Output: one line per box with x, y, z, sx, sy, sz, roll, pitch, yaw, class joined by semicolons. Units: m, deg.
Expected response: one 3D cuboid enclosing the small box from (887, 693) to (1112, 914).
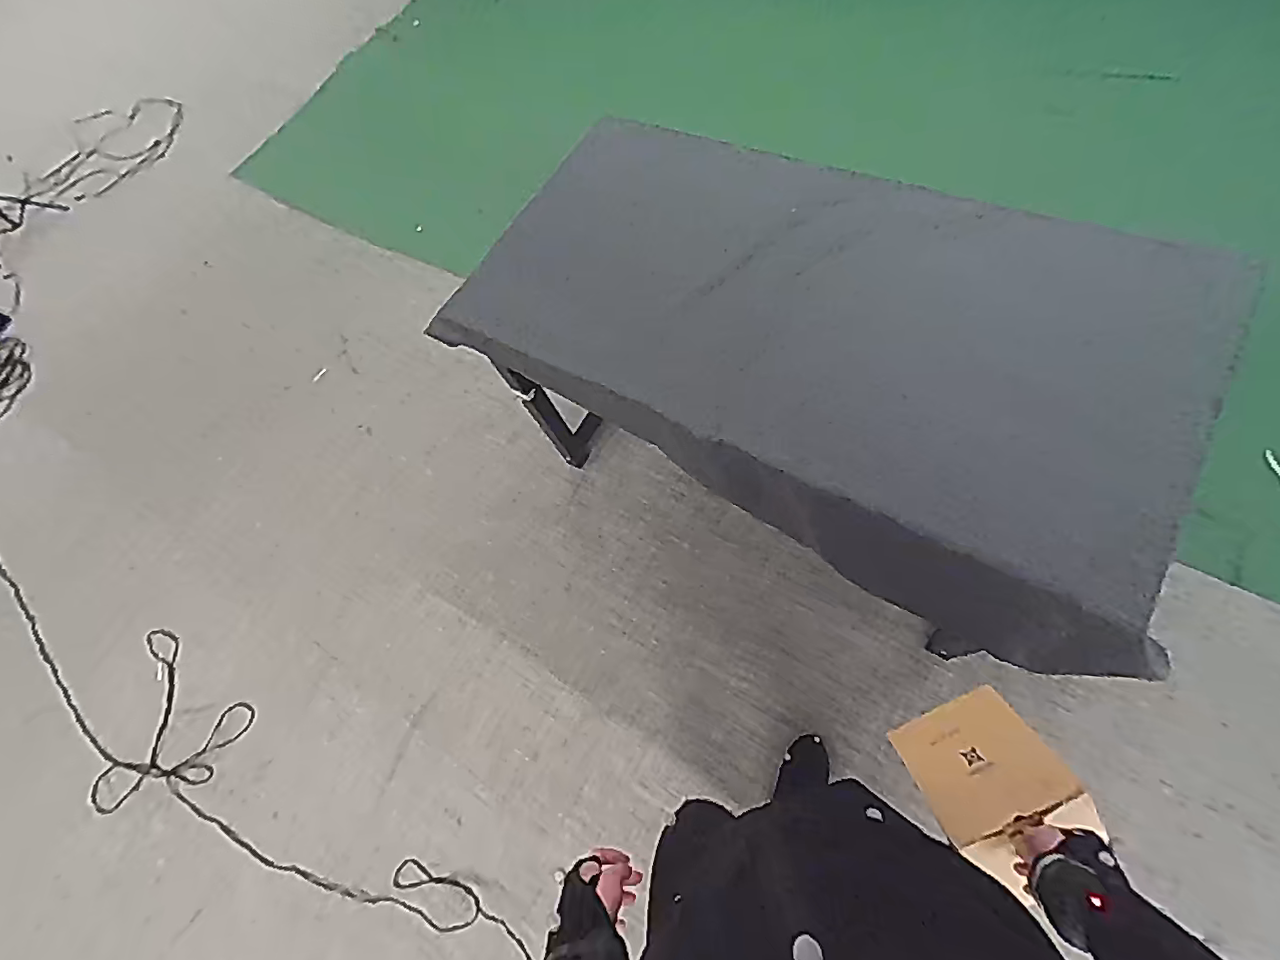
0.475;0.435;0.726;0.168;0.179;0.176;-30;109;8;small box
